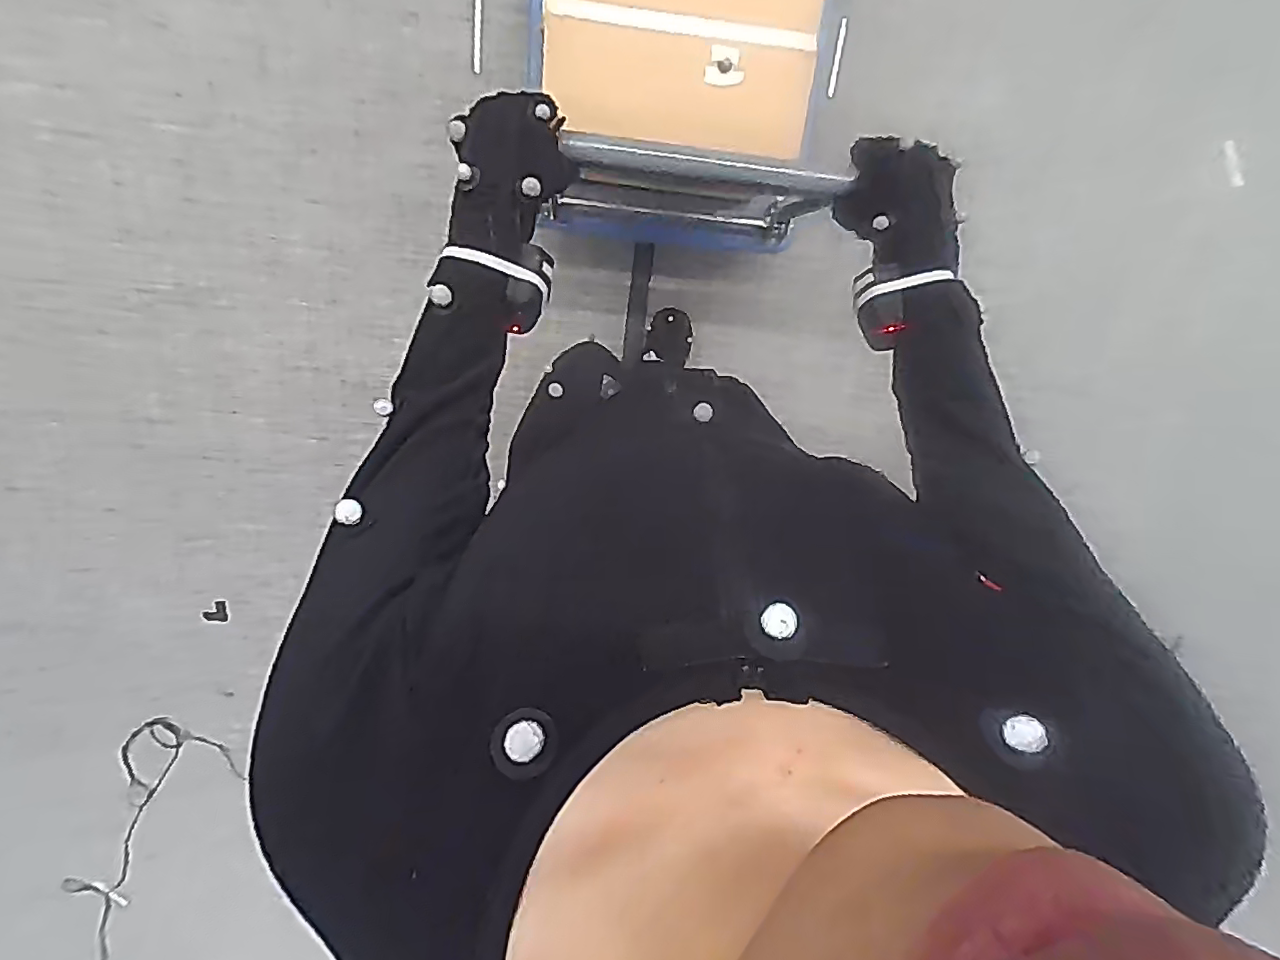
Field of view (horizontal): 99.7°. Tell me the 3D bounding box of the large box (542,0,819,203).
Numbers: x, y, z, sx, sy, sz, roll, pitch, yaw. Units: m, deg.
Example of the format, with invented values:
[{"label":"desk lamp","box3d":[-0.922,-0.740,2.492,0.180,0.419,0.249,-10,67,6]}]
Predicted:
[{"label":"large box","box3d":[0.049,-0.694,0.935,0.408,0.320,0.320,5,107,-5]}]
